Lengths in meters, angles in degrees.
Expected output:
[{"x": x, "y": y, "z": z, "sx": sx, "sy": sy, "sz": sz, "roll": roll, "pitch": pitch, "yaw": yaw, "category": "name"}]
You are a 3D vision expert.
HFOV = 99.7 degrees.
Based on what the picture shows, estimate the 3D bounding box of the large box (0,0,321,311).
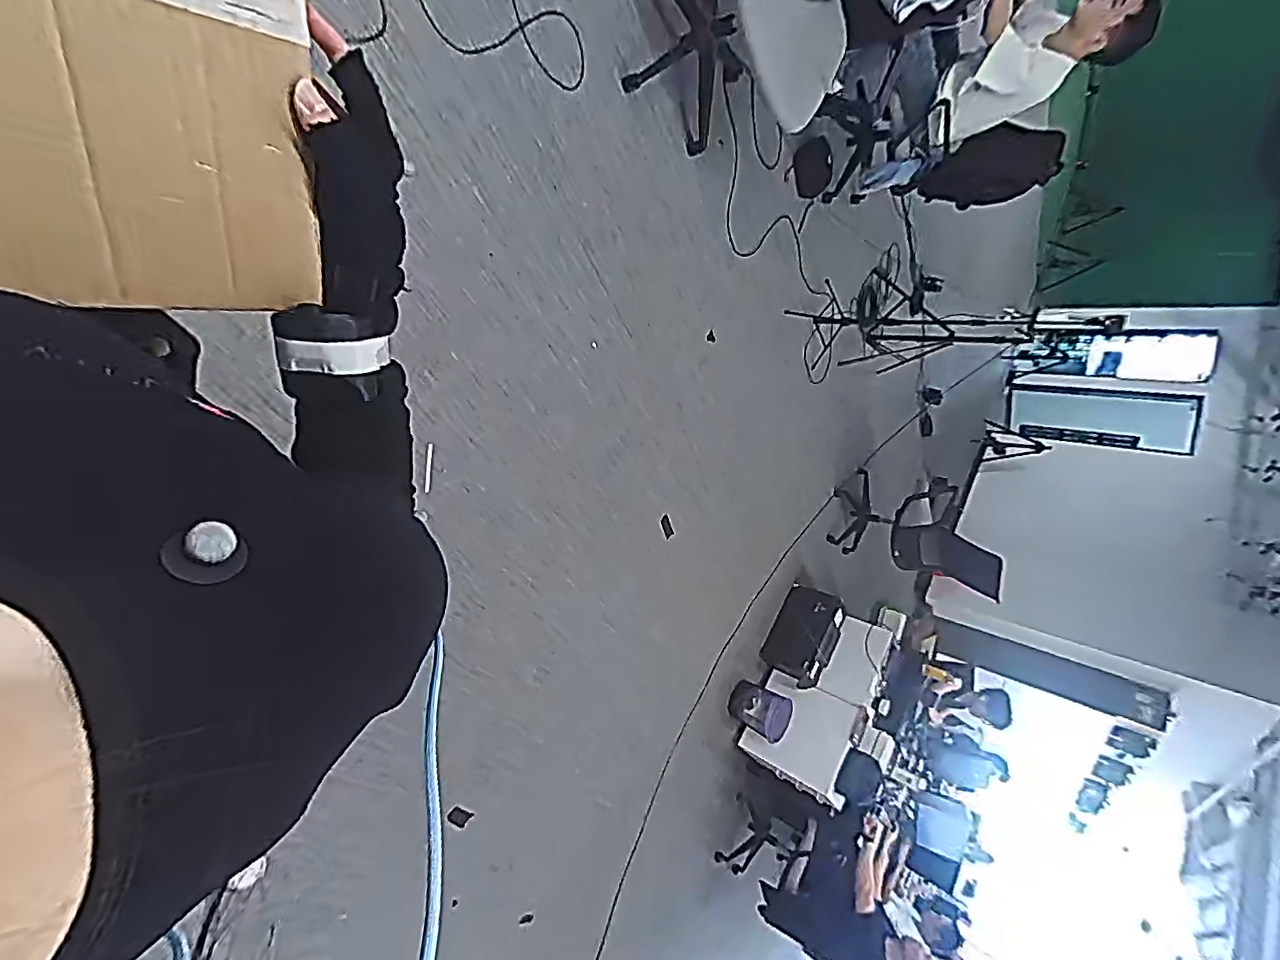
[{"x": -0.435, "y": -0.284, "z": 0.263, "sx": 0.408, "sy": 0.320, "sz": 0.320, "roll": -15, "pitch": 132, "yaw": -42, "category": "large box"}]
